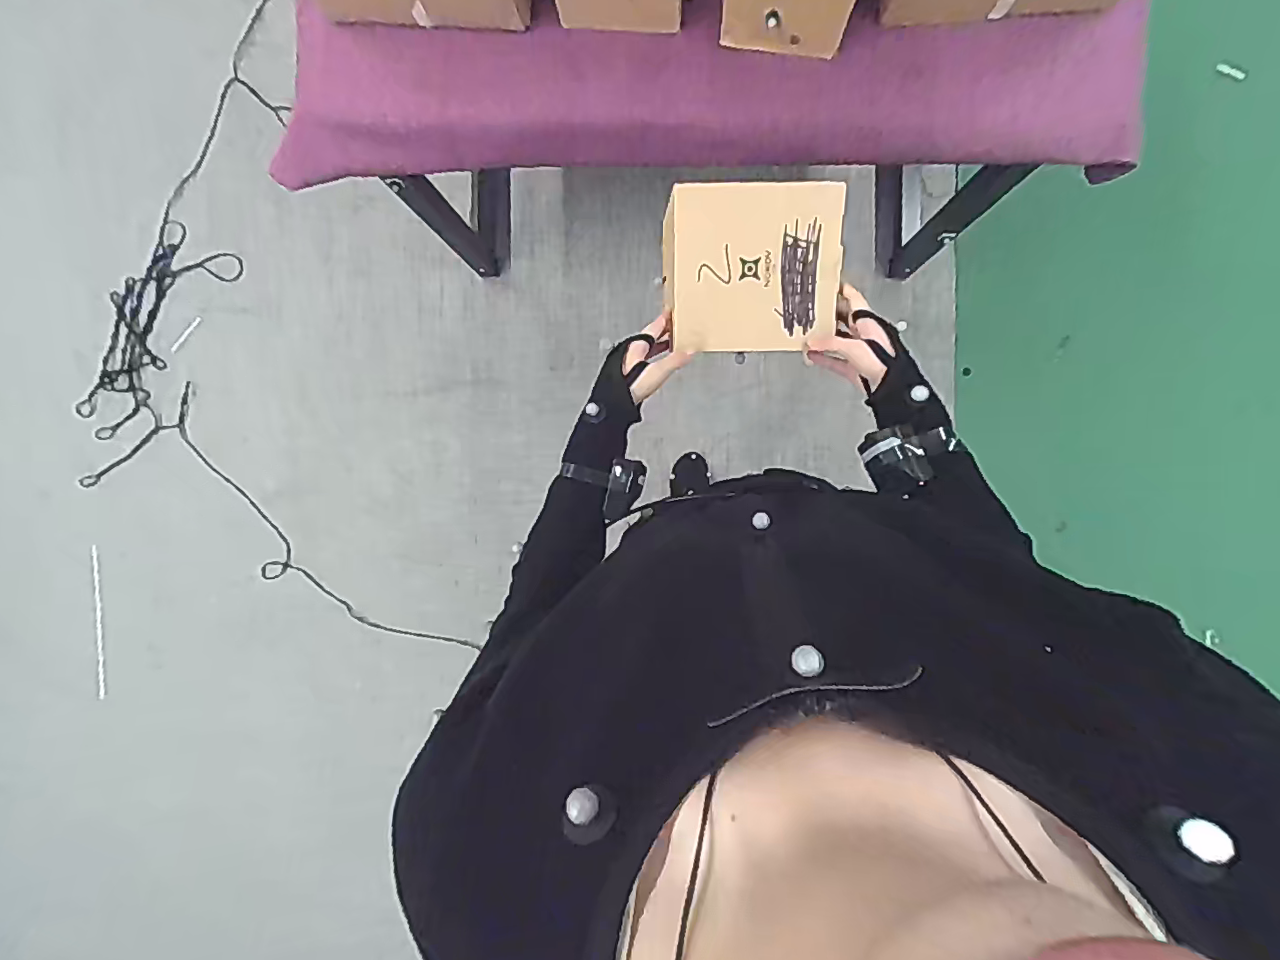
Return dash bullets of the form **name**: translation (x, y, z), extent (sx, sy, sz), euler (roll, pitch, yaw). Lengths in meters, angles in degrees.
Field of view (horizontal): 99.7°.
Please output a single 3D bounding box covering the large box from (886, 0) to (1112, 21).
- **large box**: translation (0.476, -0.835, 0.590), extent (0.320, 0.320, 0.408), euler (0, 92, 7)
